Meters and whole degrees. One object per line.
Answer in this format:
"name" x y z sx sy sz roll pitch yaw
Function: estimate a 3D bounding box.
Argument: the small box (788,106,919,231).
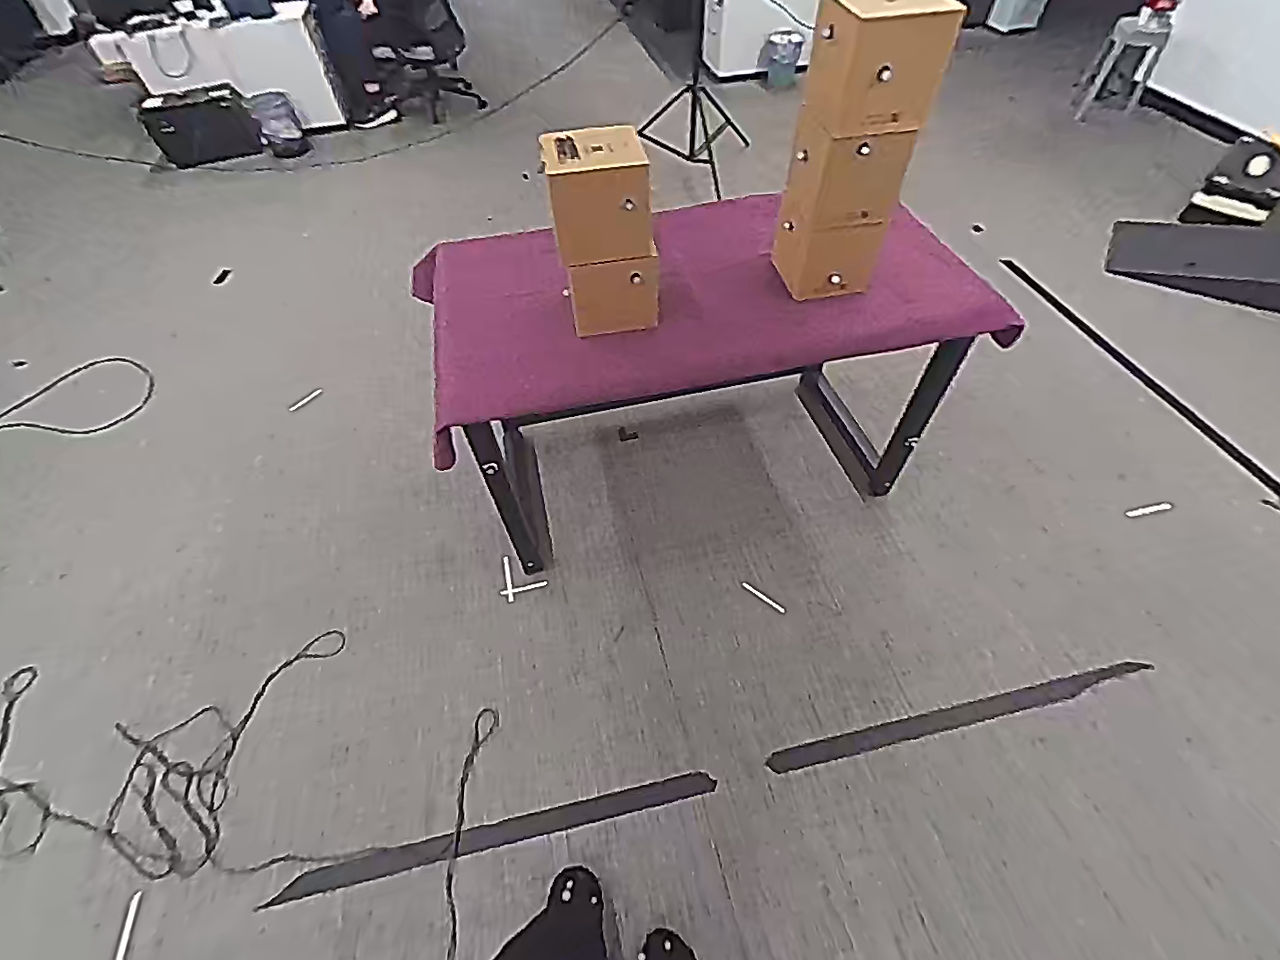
"small box" 0.402 -0.612 1.057 0.168 0.176 0.179 -8 52 -3

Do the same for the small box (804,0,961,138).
"small box" 0.397 -0.705 0.922 0.168 0.176 0.179 -9 53 -3

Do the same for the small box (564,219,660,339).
"small box" -0.057 -0.419 1.137 0.179 0.176 0.168 -9 53 -4

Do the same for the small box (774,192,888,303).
"small box" 0.407 -0.518 1.190 0.168 0.176 0.179 -10 54 -4
